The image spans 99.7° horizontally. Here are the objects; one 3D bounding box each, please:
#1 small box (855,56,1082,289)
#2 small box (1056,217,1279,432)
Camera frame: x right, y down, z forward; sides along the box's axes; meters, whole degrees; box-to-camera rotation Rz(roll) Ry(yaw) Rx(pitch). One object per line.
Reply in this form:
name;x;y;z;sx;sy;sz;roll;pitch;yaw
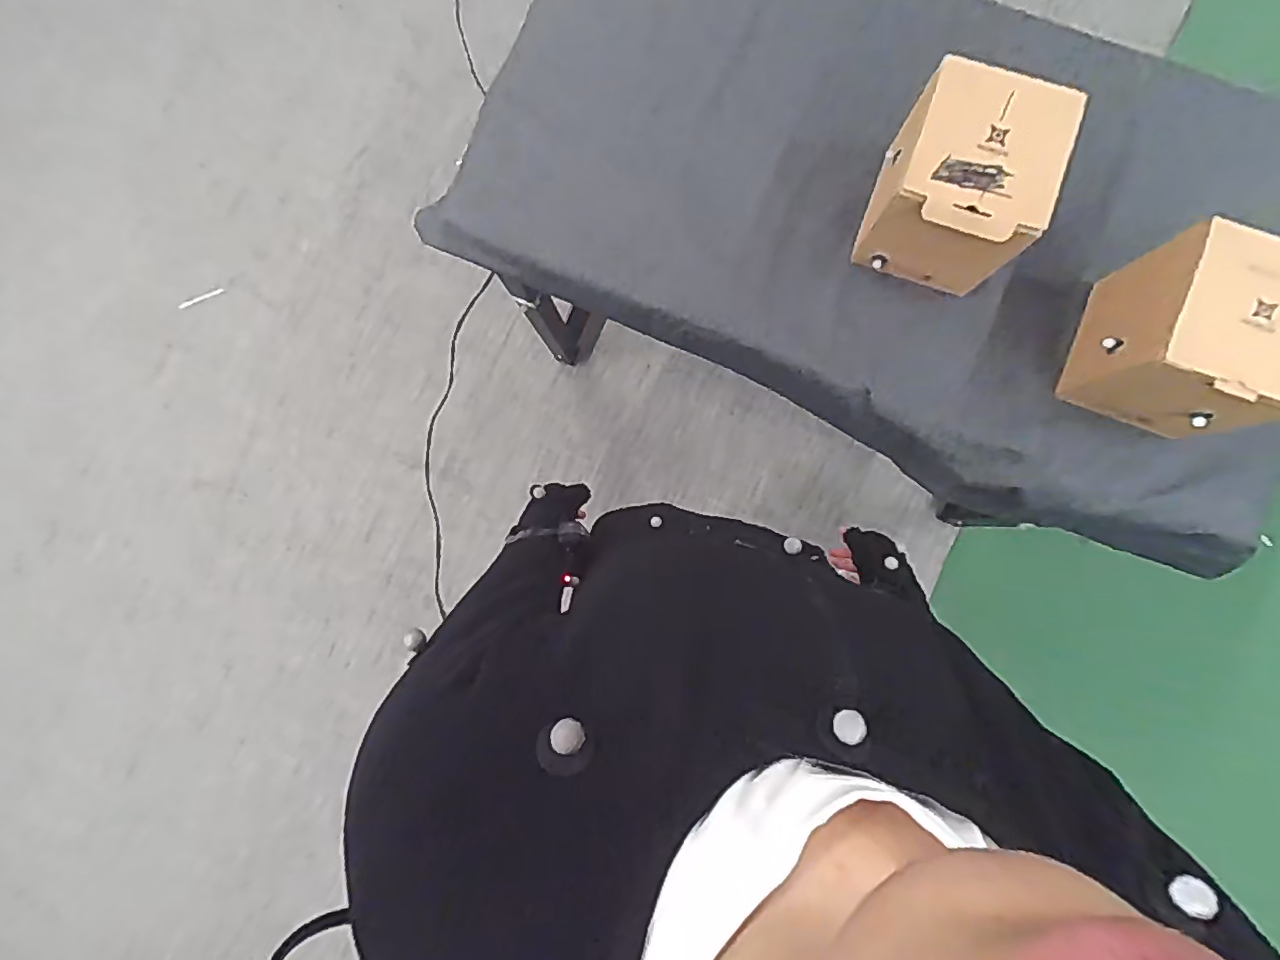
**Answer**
small box;0.396;-0.372;0.687;0.168;0.176;0.179;20;86;4
small box;0.664;-0.173;0.662;0.168;0.176;0.179;21;86;3
